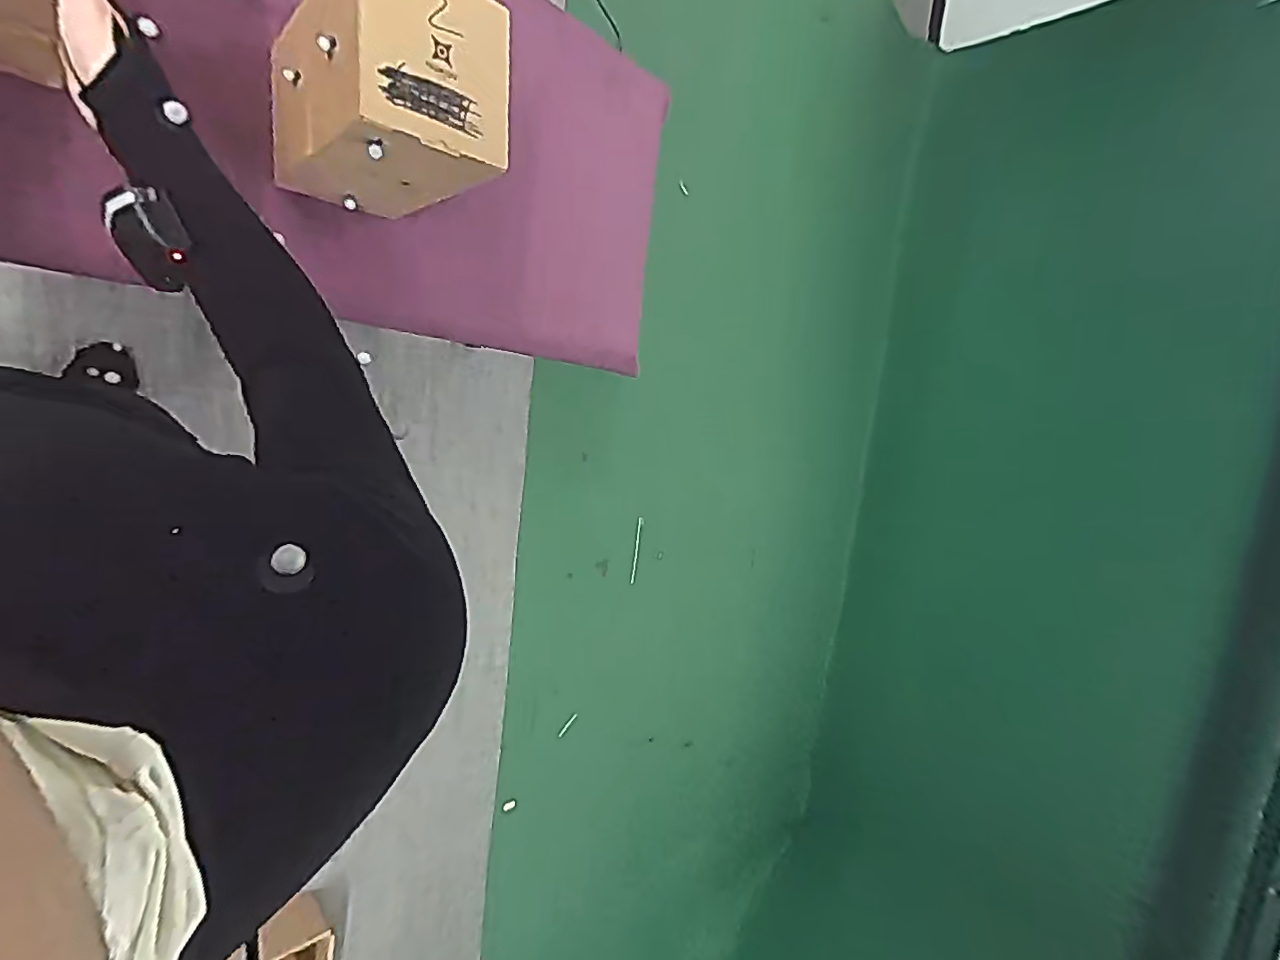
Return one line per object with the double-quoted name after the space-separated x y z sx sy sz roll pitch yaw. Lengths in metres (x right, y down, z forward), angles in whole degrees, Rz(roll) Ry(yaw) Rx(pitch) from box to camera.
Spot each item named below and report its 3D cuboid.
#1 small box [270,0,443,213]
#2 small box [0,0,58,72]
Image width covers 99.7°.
-0.383 -0.486 0.729 0.168 0.176 0.179 -4 102 -46 "small box"
-0.632 -0.503 0.463 0.168 0.176 0.179 -8 106 -46 "small box"
